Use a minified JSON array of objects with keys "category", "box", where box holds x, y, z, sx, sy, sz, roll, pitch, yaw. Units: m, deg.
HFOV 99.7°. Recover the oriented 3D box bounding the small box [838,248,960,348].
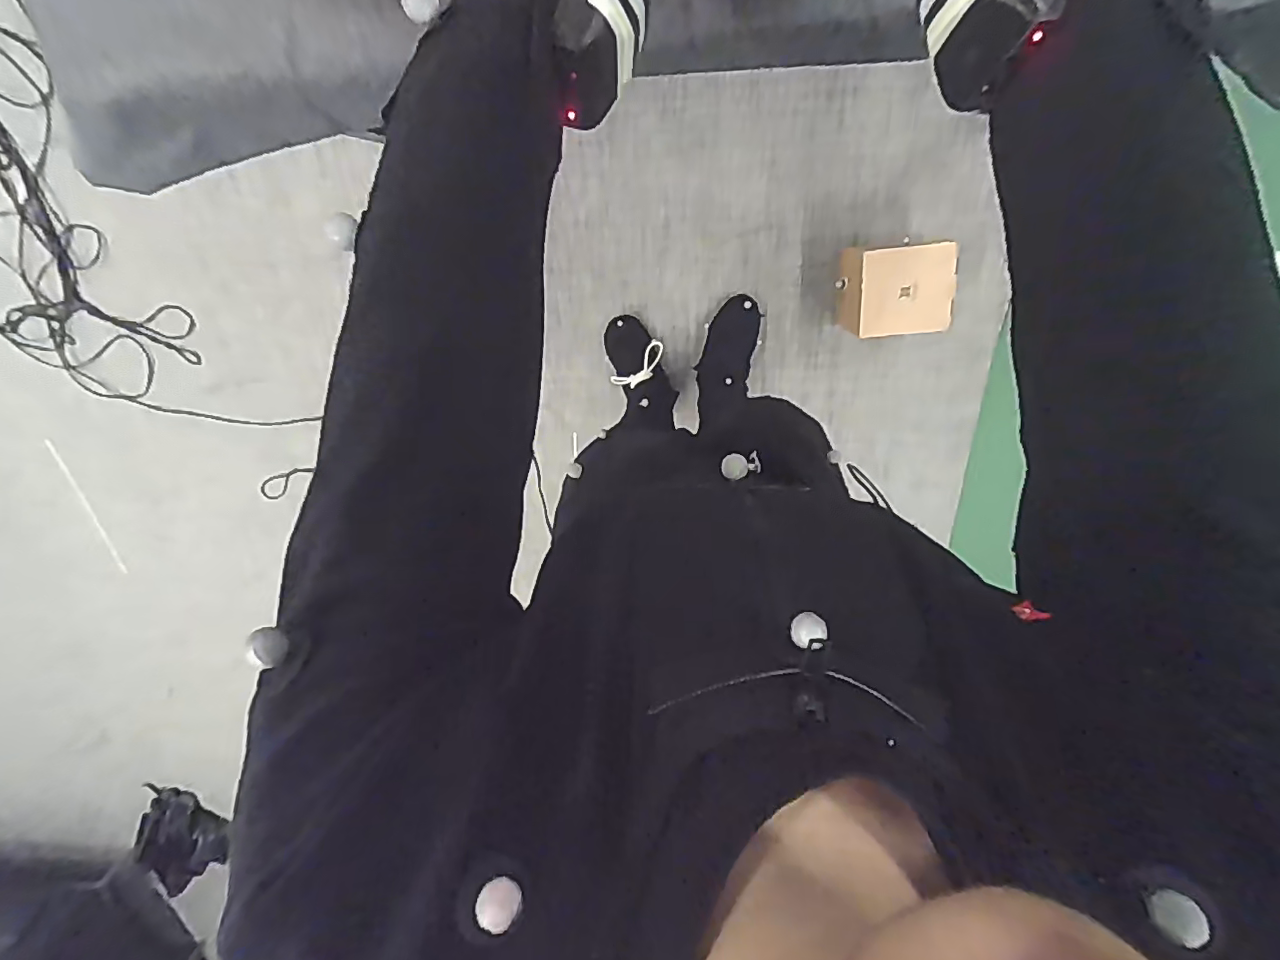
[{"category":"small box","box":[0.524,-0.379,1.114,0.179,0.176,0.168,-8,111,5]}]
